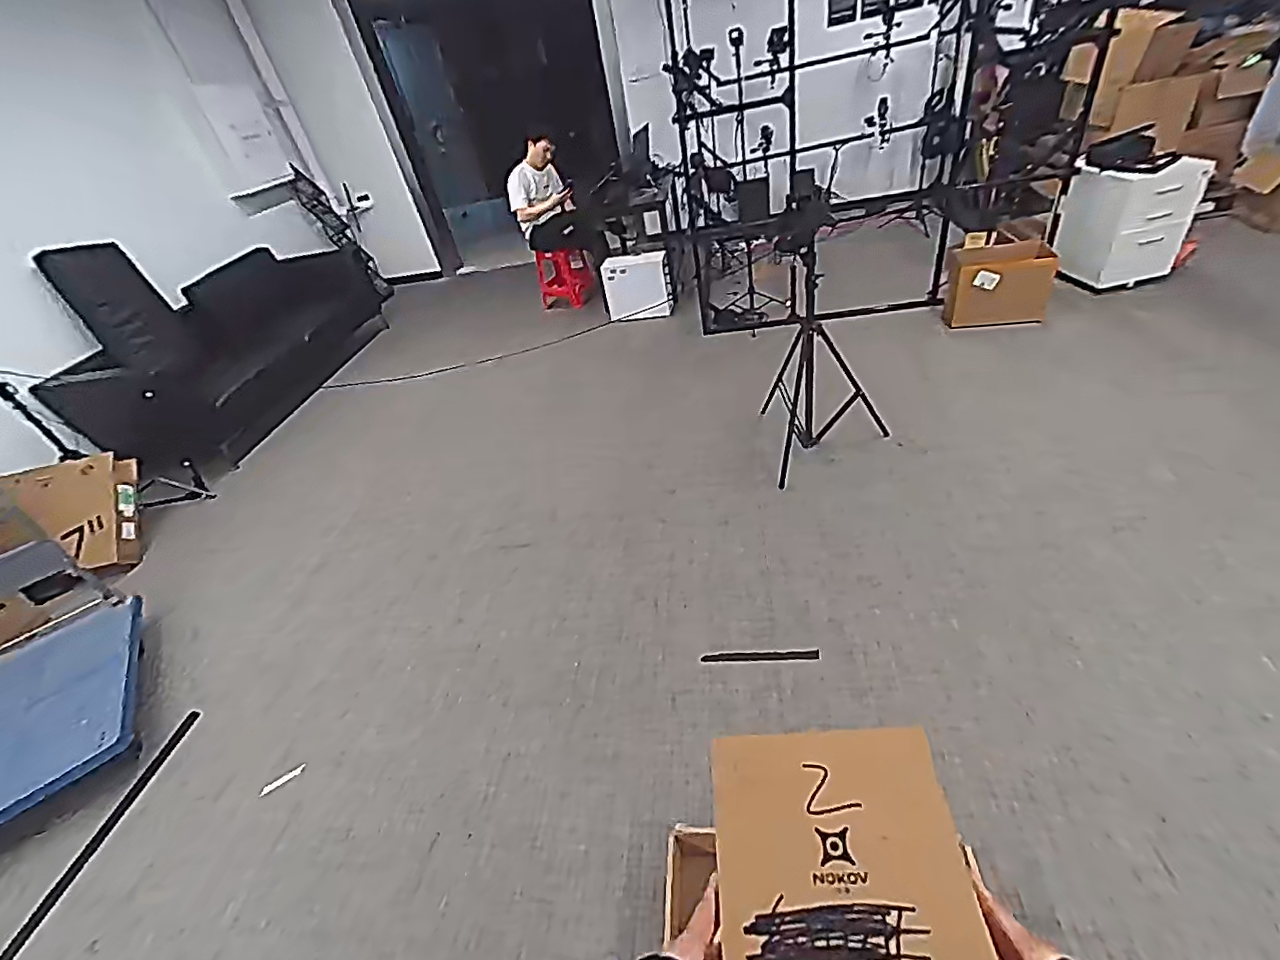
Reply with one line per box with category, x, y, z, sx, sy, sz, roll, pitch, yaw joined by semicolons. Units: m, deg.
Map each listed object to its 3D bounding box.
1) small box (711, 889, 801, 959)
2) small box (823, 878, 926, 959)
small box;0.229;0.933;1.059;0.168;0.176;0.179;-4;38;8
small box;0.444;0.905;1.036;0.168;0.176;0.179;-2;39;15
